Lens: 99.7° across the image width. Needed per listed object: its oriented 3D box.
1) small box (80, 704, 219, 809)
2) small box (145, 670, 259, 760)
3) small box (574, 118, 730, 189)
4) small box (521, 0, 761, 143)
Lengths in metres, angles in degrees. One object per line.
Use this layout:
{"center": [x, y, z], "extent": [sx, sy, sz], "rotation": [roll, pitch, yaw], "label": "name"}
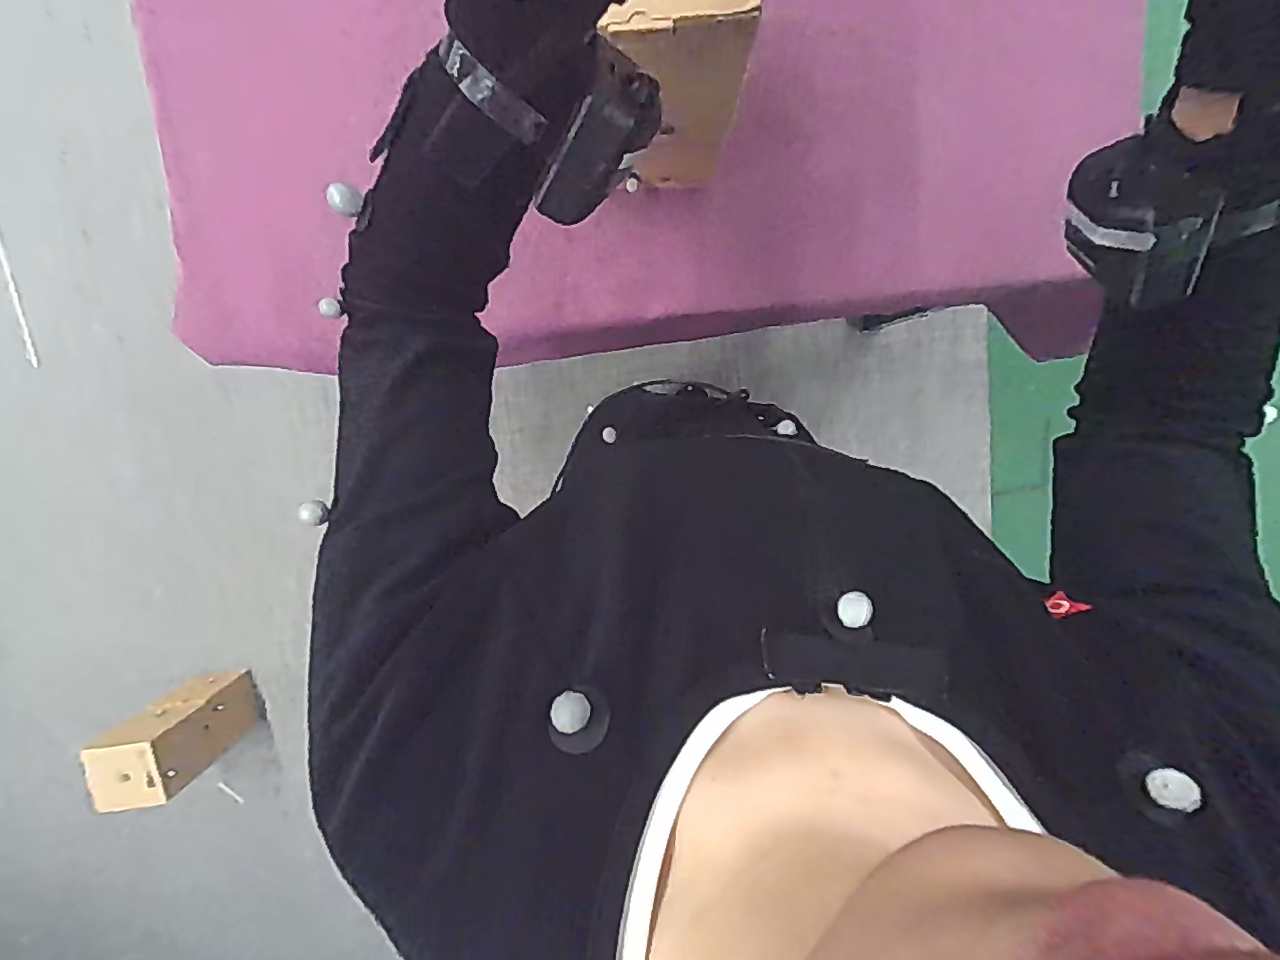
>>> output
{"center": [-1.210, 0.682, 1.346], "extent": [0.179, 0.176, 0.168], "rotation": [-7, 98, 3], "label": "small box"}
{"center": [-1.209, 0.658, 1.508], "extent": [0.168, 0.176, 0.179], "rotation": [-7, 98, 2], "label": "small box"}
{"center": [0.007, -0.446, 0.594], "extent": [0.168, 0.176, 0.179], "rotation": [-1, 99, 2], "label": "small box"}
{"center": [-0.001, -0.406, 0.434], "extent": [0.168, 0.176, 0.179], "rotation": [-3, 99, 3], "label": "small box"}
